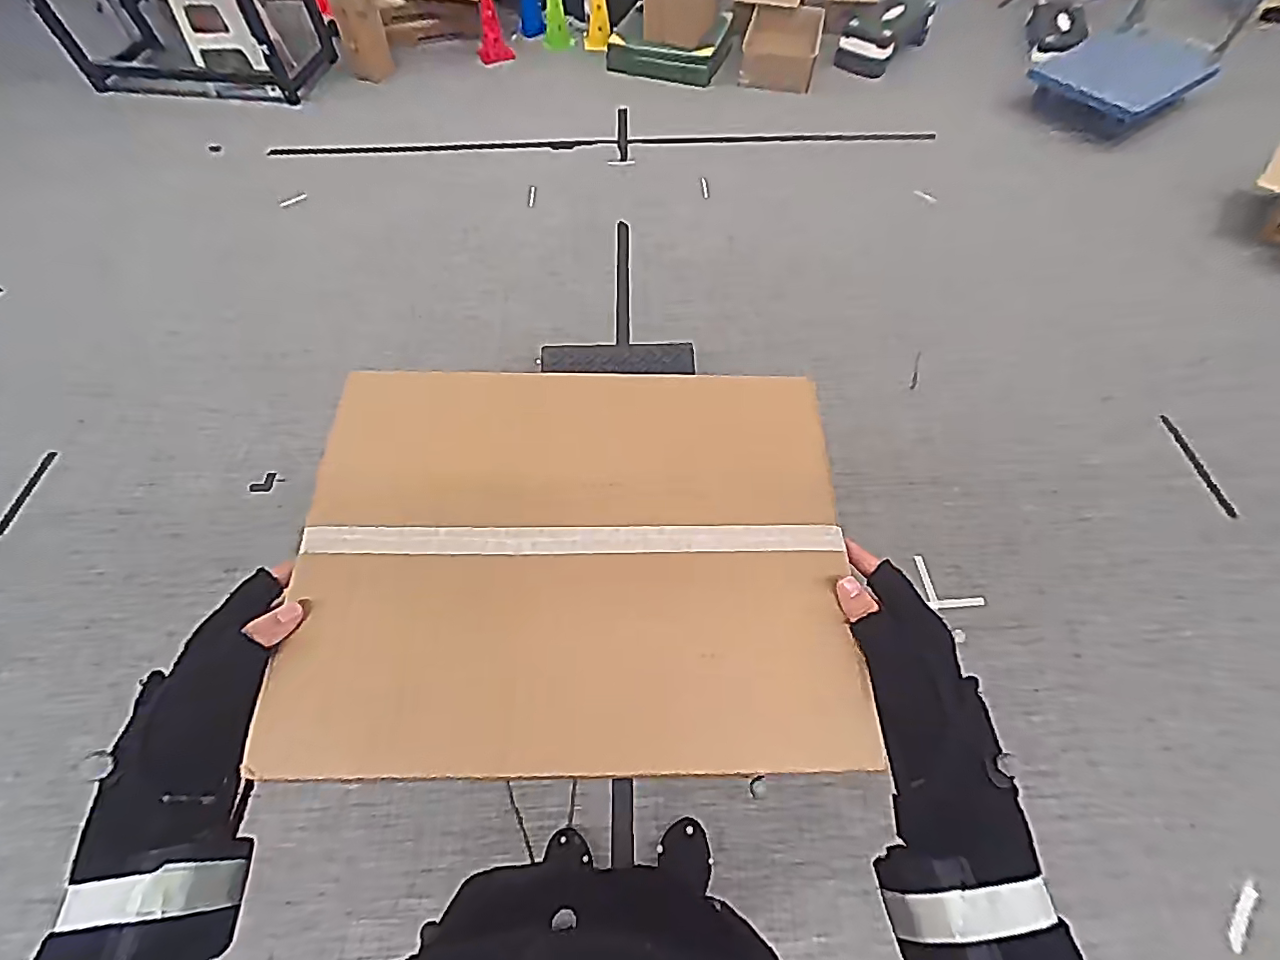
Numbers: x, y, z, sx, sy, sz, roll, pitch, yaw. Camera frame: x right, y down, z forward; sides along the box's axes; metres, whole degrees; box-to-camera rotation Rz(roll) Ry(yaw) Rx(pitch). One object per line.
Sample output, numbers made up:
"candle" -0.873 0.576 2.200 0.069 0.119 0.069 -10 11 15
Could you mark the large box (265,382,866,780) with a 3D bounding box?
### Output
"large box" -0.051 0.116 0.552 0.408 0.320 0.320 1 63 -3
